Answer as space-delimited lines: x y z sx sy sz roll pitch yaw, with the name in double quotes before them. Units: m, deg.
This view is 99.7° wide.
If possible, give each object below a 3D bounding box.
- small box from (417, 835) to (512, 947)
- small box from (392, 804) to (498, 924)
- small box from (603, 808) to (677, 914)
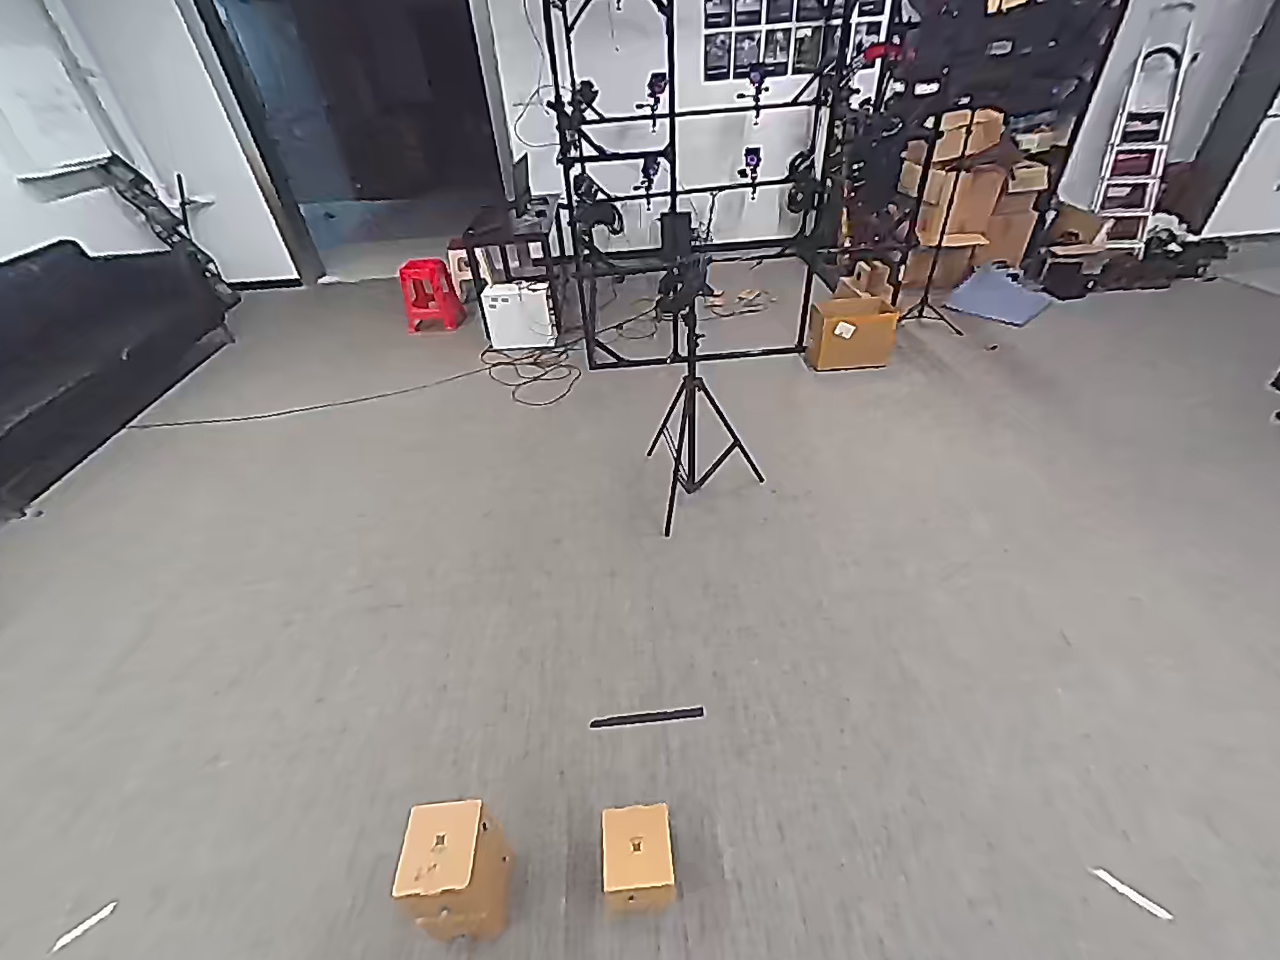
"small box" -0.415 0.999 1.316 0.168 0.176 0.179 -6 38 0
"small box" -0.428 0.866 1.221 0.168 0.176 0.179 -7 39 0
"small box" 0.000 0.948 1.340 0.168 0.176 0.179 -5 38 -2
